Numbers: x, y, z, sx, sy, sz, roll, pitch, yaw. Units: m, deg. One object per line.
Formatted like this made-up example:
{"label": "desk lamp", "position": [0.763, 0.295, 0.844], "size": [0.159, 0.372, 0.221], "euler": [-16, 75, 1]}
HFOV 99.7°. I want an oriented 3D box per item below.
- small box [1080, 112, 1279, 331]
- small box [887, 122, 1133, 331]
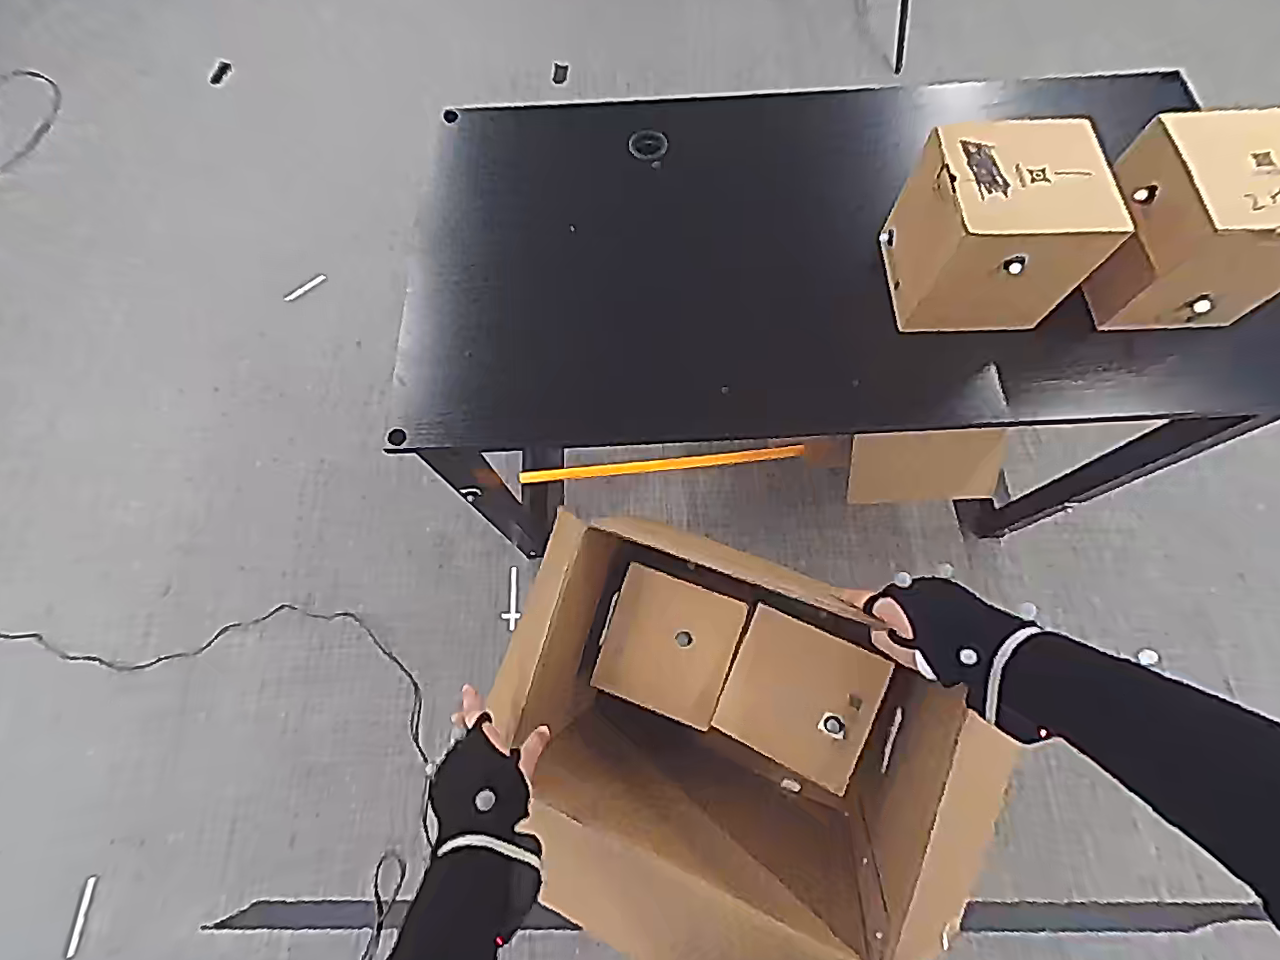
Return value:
{"label": "small box", "position": [0.667, -0.302, 0.651], "size": [0.168, 0.176, 0.179], "euler": [-1, 69, 3]}
{"label": "small box", "position": [0.421, -0.297, 0.658], "size": [0.179, 0.176, 0.168], "euler": [-1, 70, 1]}
